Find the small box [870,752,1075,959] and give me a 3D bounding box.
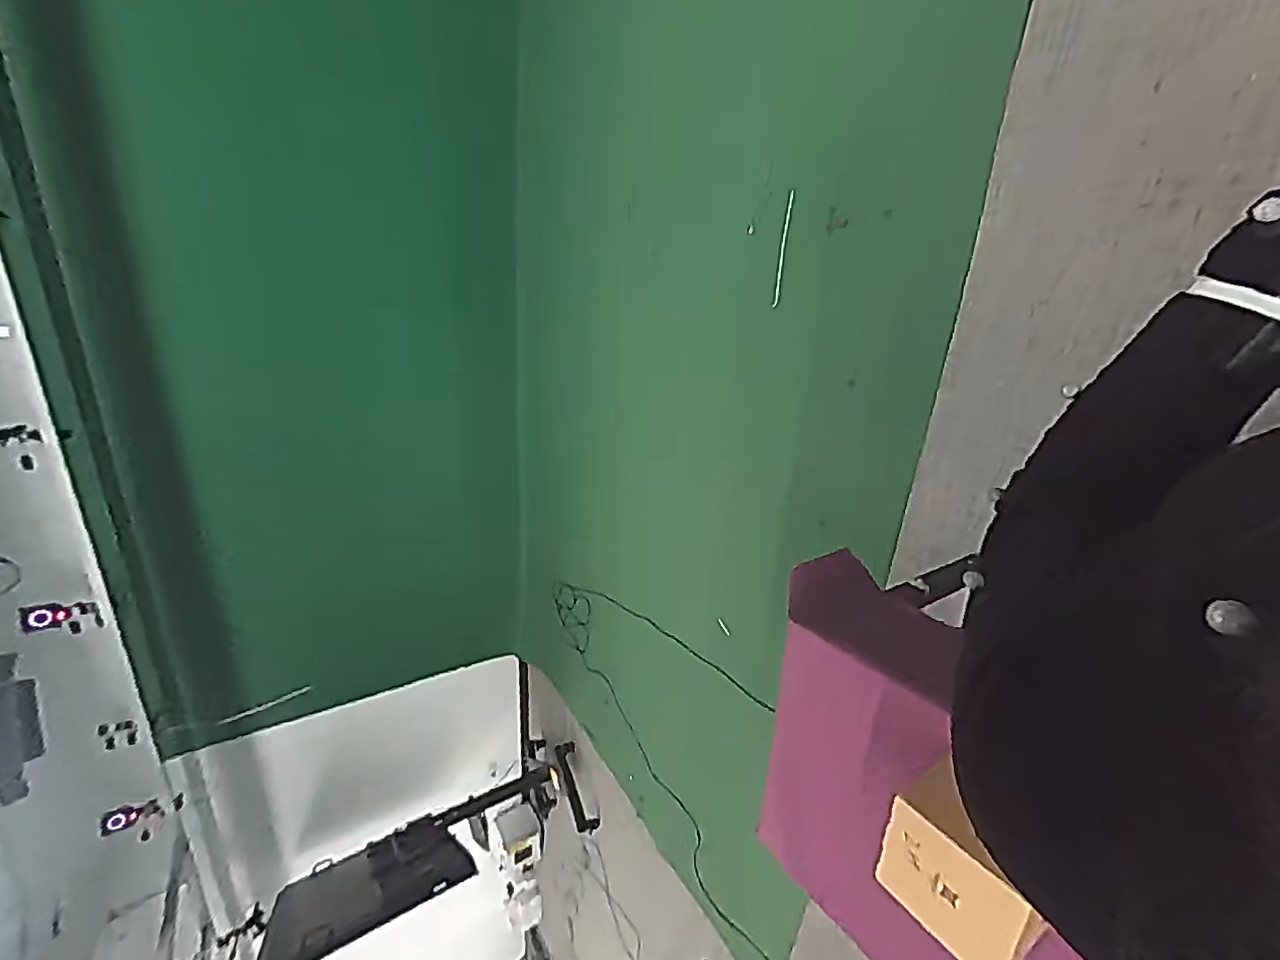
[{"bbox_3d":[0.464,0.526,0.760,0.179,0.176,0.168,29,121,52],"label":"small box"}]
